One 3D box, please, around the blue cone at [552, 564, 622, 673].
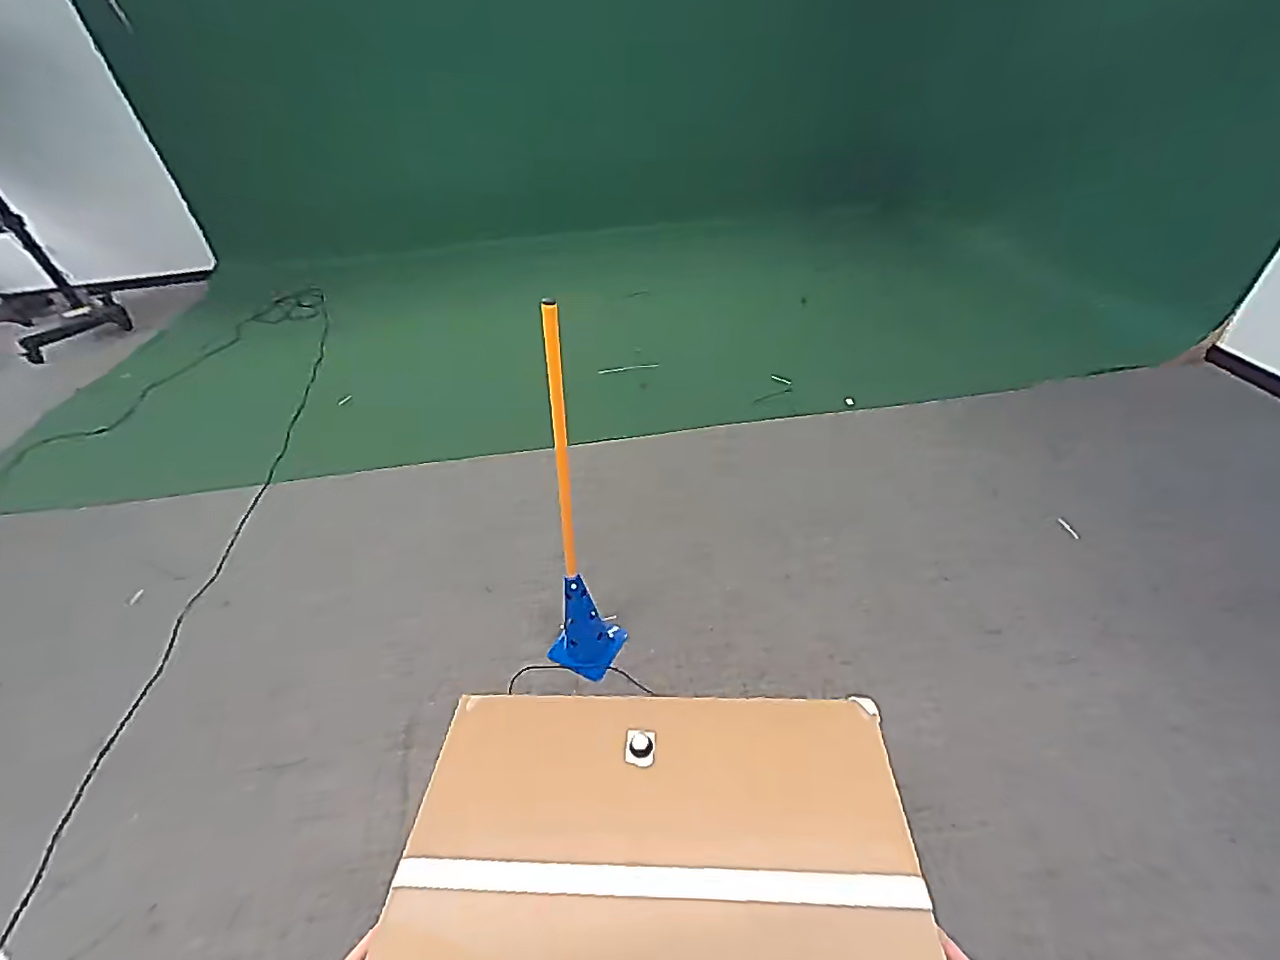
[{"bbox_3d":[-0.178,0.386,1.617,0.192,0.380,0.193,16,44,21],"label":"blue cone"}]
